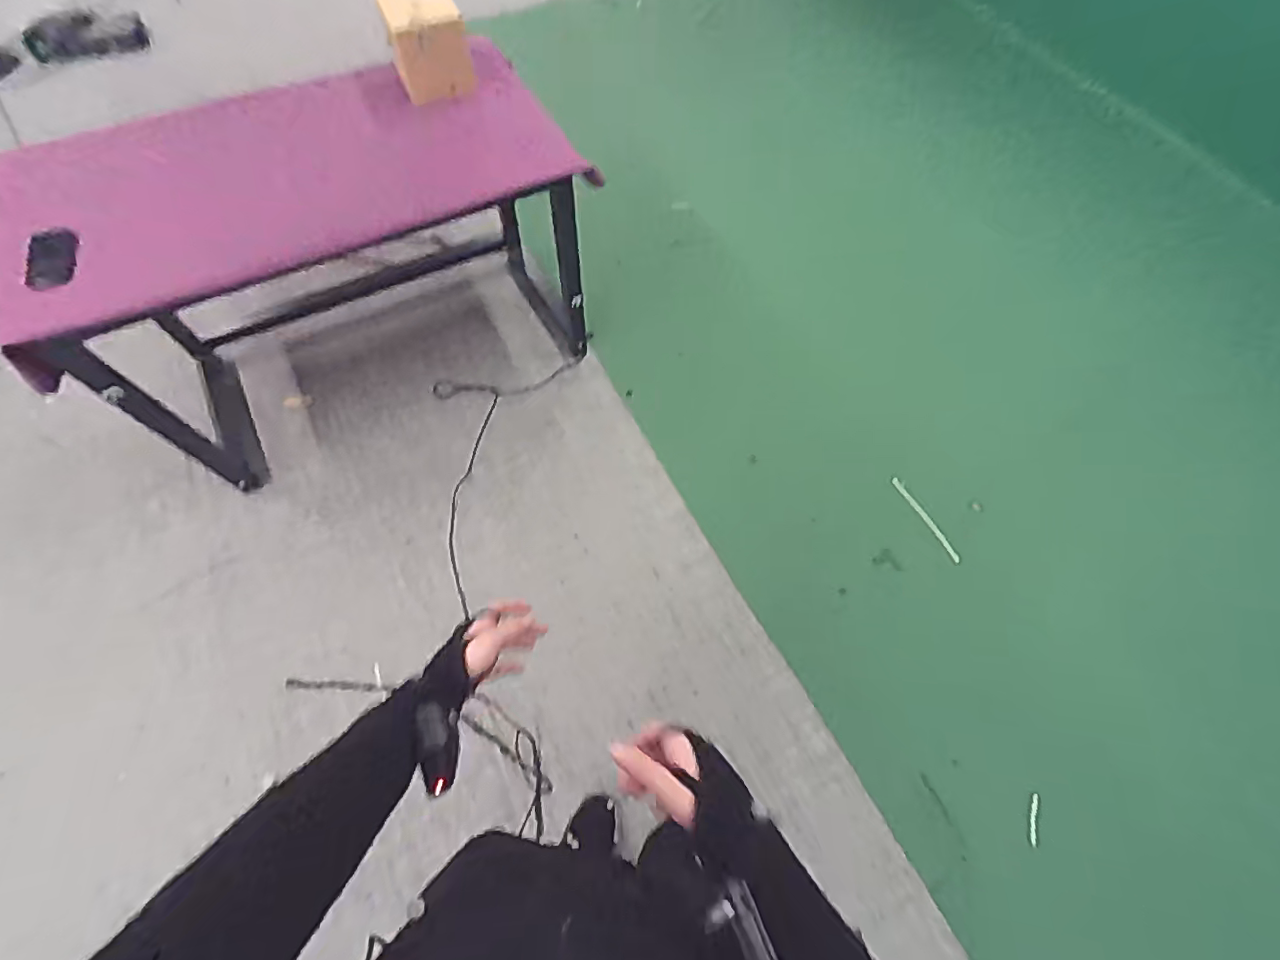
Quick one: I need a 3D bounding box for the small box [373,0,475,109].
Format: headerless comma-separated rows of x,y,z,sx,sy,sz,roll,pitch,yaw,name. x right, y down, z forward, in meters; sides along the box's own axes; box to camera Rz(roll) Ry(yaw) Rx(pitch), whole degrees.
-0.532,-1.069,1.347,0.168,0.176,0.179,-24,67,-12,small box
